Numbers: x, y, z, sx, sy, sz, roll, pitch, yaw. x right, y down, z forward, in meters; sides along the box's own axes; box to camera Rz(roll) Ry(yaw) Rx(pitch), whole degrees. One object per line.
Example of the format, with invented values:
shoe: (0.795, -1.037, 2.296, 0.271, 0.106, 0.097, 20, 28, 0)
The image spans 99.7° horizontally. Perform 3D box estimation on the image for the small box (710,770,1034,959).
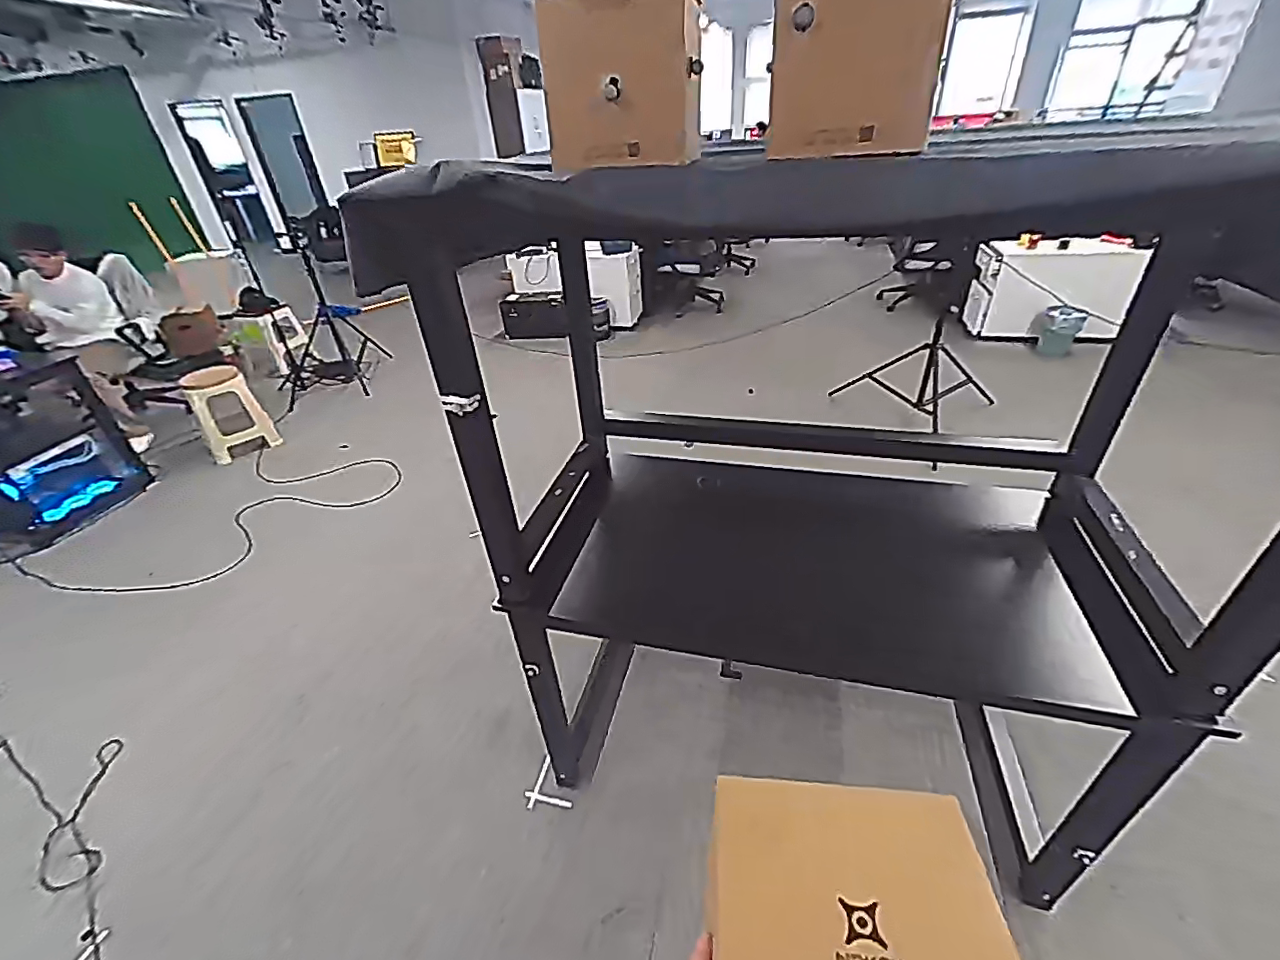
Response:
small box: (0.131, 0.321, 0.340, 0.168, 0.176, 0.179, 1, 29, 6)

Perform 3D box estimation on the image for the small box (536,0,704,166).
small box: (-0.011, -0.488, 0.666, 0.168, 0.176, 0.179, 4, 34, 11)
